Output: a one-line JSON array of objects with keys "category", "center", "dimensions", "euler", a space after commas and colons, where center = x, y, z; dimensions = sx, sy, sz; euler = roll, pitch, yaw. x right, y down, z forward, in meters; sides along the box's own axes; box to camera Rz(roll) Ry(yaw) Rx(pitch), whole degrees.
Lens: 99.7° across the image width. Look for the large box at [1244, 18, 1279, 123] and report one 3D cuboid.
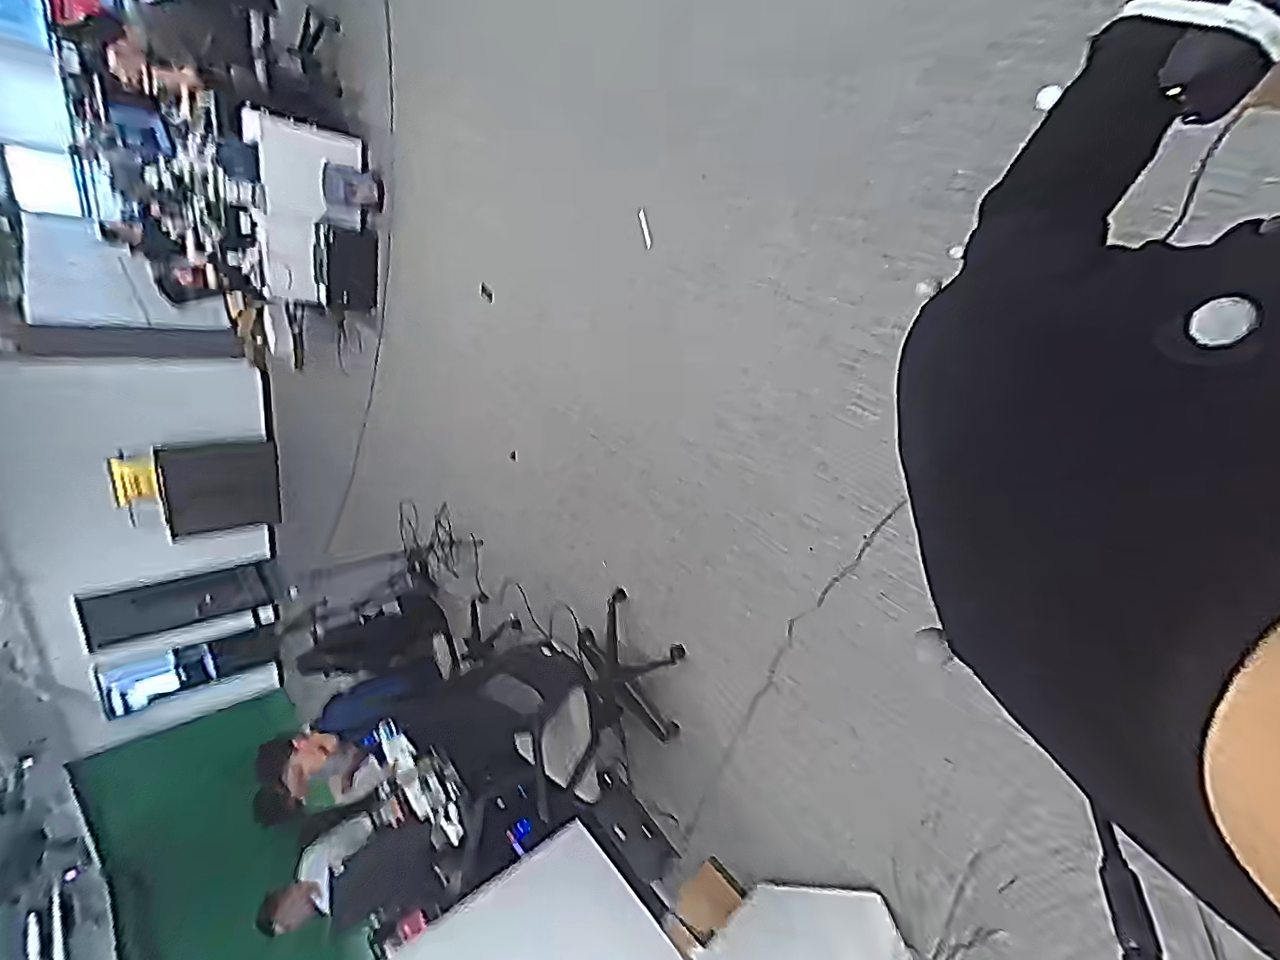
[{"category": "large box", "center": [0.647, -0.341, 0.239], "dimensions": [0.408, 0.320, 0.320], "euler": [37, 127, 30]}]
